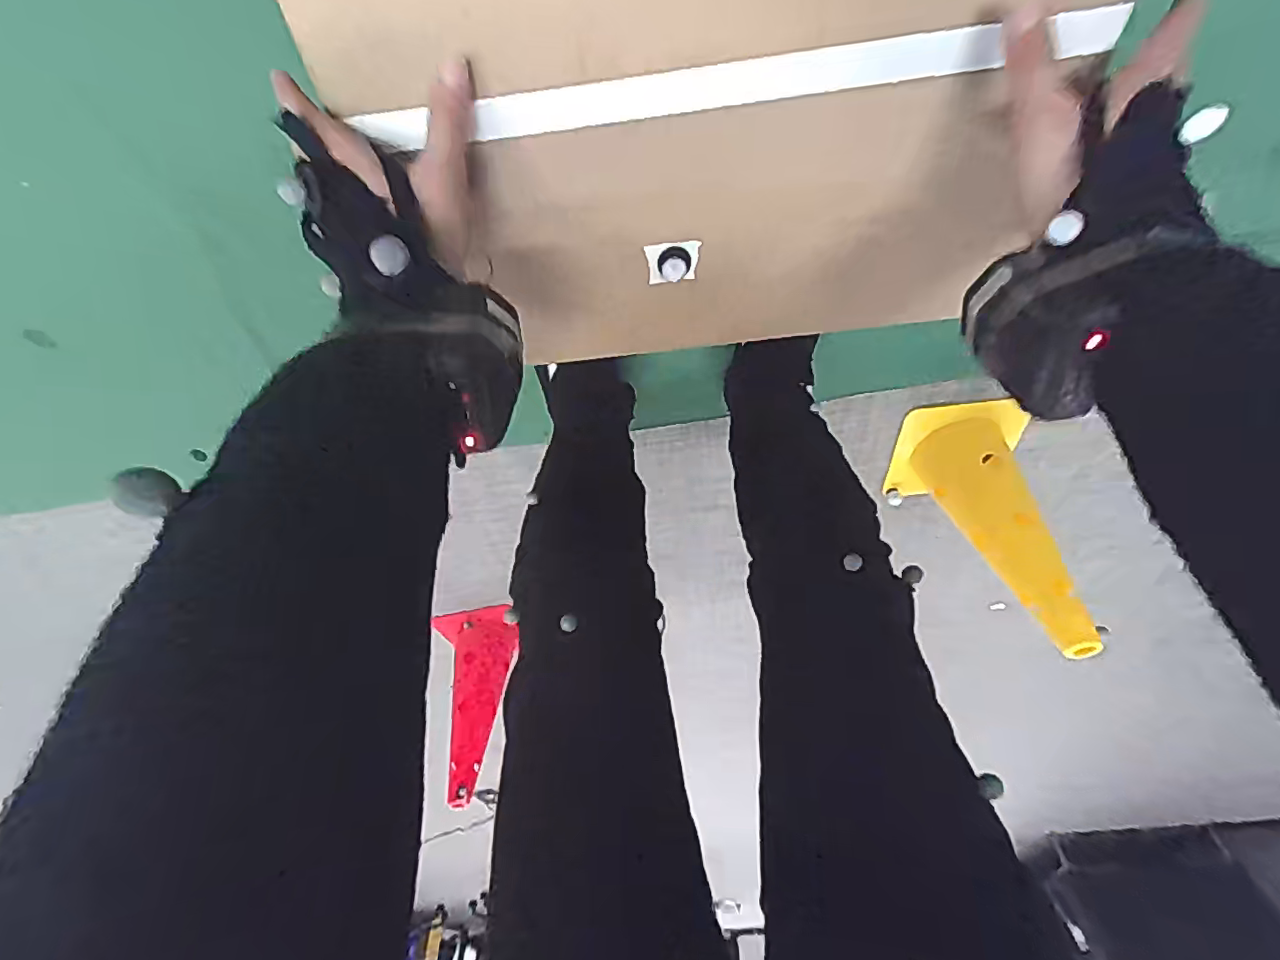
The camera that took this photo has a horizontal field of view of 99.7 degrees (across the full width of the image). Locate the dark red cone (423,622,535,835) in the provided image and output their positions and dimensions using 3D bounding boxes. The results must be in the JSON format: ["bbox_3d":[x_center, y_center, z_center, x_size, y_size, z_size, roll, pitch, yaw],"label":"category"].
[{"bbox_3d":[-0.357,0.492,1.100,0.202,0.394,0.201,-13,131,10],"label":"dark red cone"}]
